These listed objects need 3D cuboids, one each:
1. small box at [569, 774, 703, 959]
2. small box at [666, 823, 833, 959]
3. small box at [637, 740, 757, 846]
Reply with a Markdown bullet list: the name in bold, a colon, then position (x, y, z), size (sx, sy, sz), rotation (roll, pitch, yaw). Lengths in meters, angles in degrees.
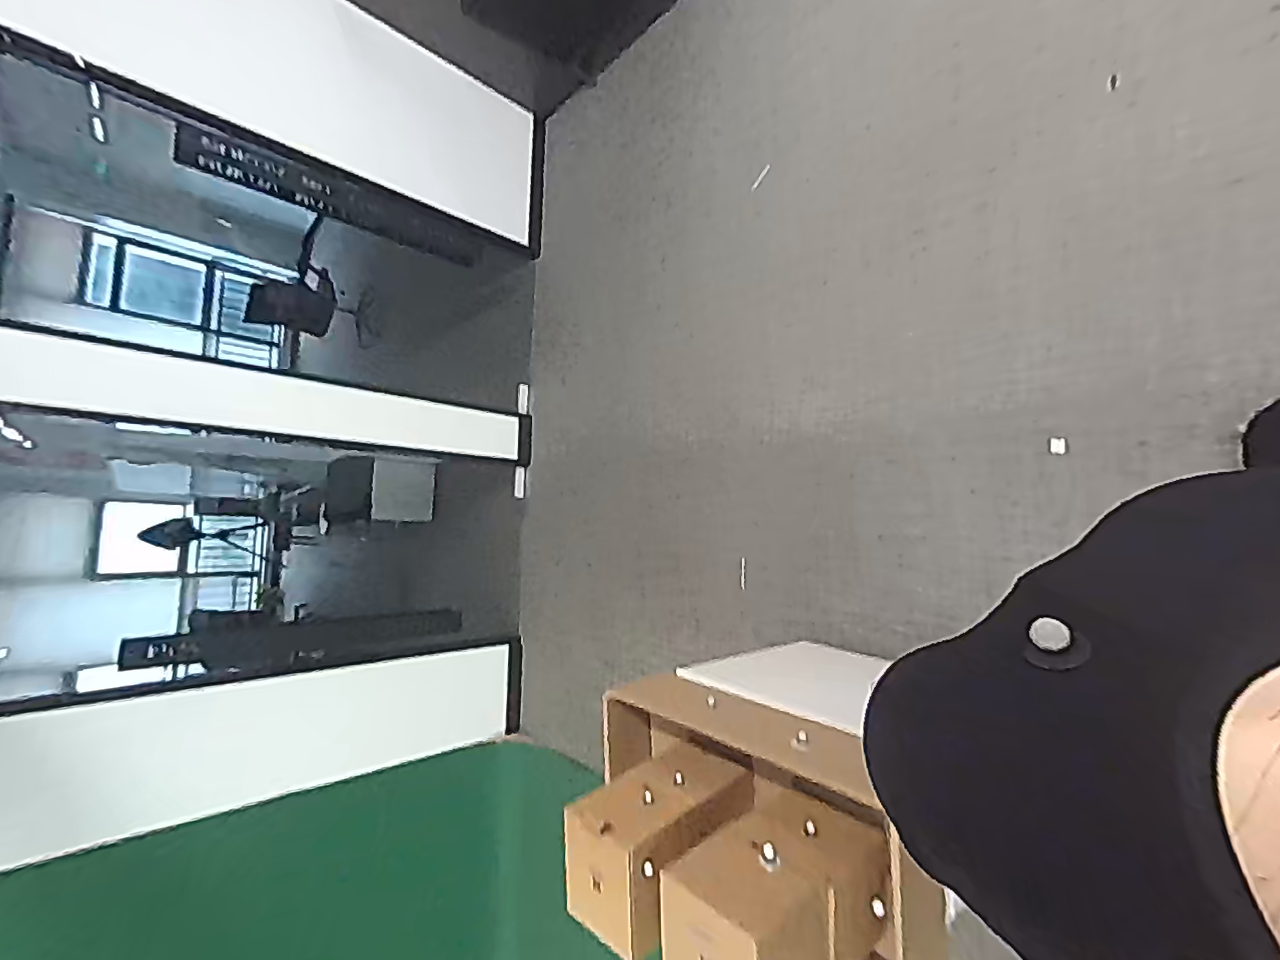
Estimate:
- **small box**: position (-0.003, 0.644, 0.924), size (0.168, 0.176, 0.179), rotation (-4, 87, 46)
- **small box**: position (0.154, 0.629, 0.751), size (0.168, 0.176, 0.179), rotation (-3, 88, 47)
- **small box**: position (0.112, 0.639, 1.040), size (0.168, 0.176, 0.179), rotation (-2, 90, 45)
